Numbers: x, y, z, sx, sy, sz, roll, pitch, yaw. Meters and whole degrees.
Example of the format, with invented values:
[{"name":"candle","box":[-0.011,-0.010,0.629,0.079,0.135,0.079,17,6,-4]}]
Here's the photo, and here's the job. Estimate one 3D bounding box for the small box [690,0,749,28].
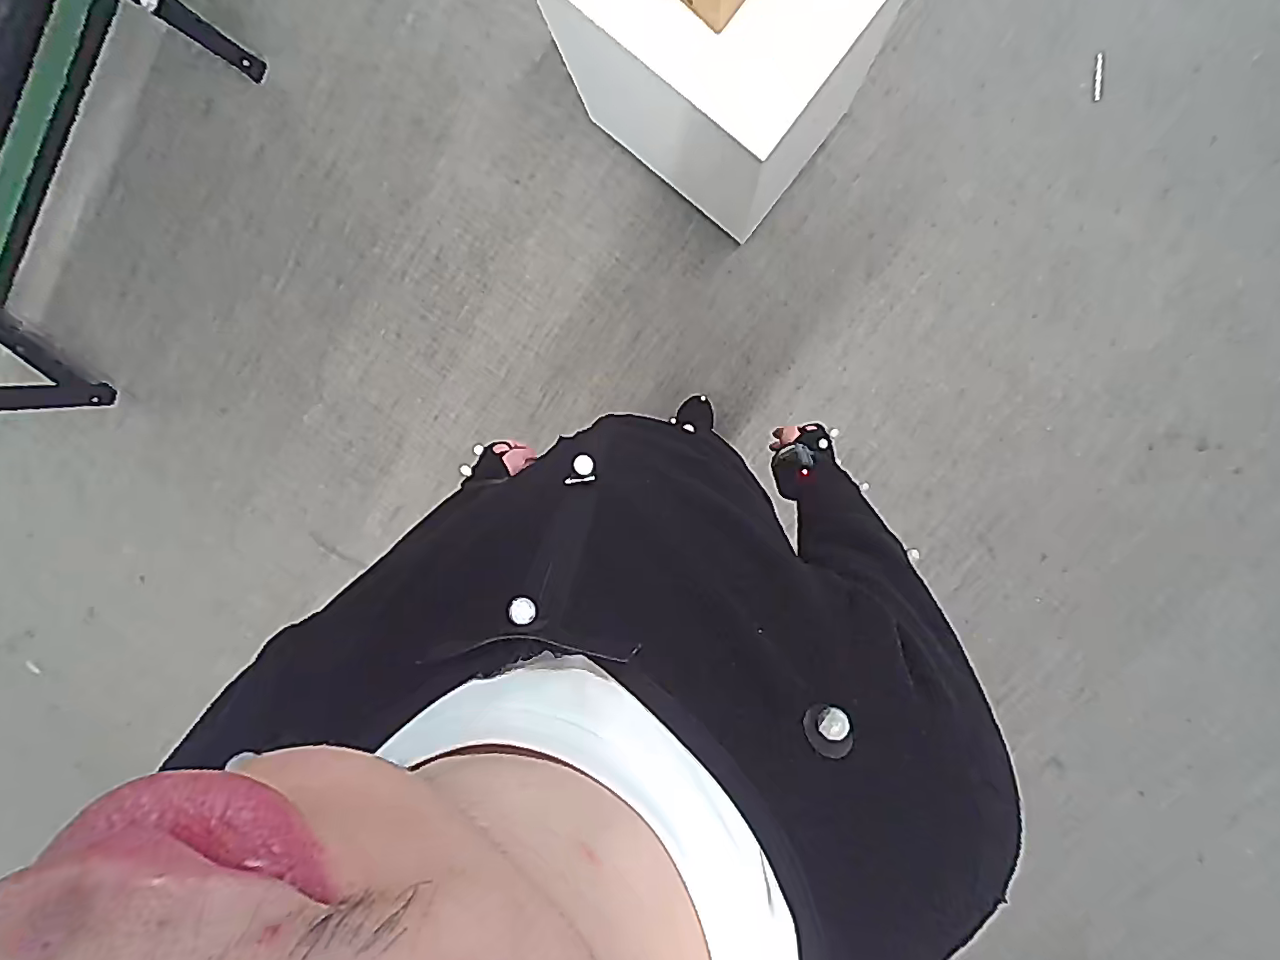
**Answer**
[{"name":"small box","box":[0.112,-0.790,0.739,0.168,0.176,0.179,39,102,-1]}]
